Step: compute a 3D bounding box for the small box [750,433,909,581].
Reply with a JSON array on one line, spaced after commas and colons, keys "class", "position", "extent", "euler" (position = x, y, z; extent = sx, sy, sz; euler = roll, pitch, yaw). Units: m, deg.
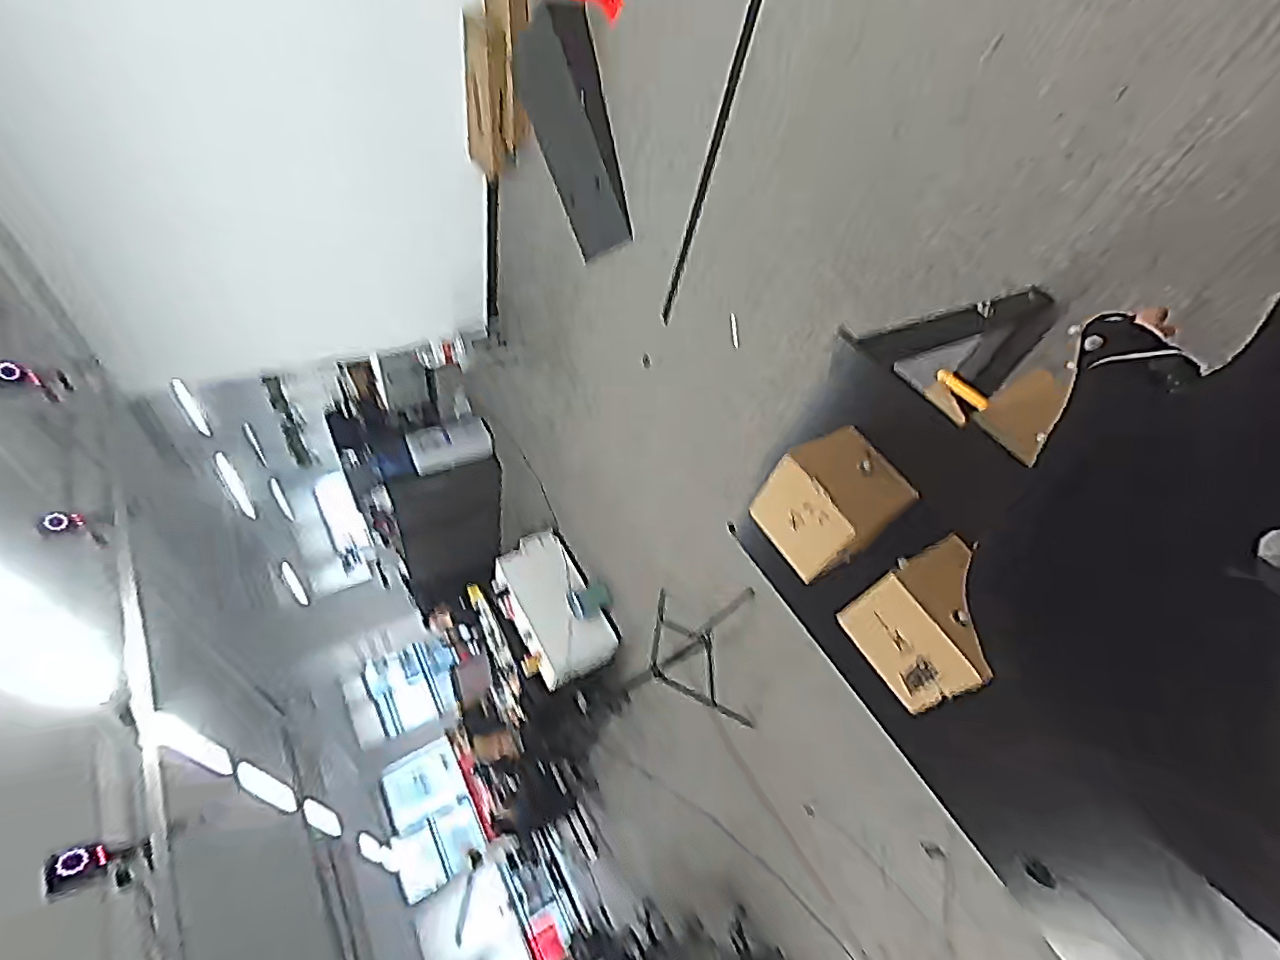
[{"class": "small box", "position": [0.332, 0.046, 0.958], "extent": [0.168, 0.176, 0.179], "euler": [54, 149, 25]}]

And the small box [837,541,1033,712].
[{"class": "small box", "position": [0.460, 0.226, 0.852], "extent": [0.179, 0.176, 0.168], "euler": [55, 149, 26]}]
